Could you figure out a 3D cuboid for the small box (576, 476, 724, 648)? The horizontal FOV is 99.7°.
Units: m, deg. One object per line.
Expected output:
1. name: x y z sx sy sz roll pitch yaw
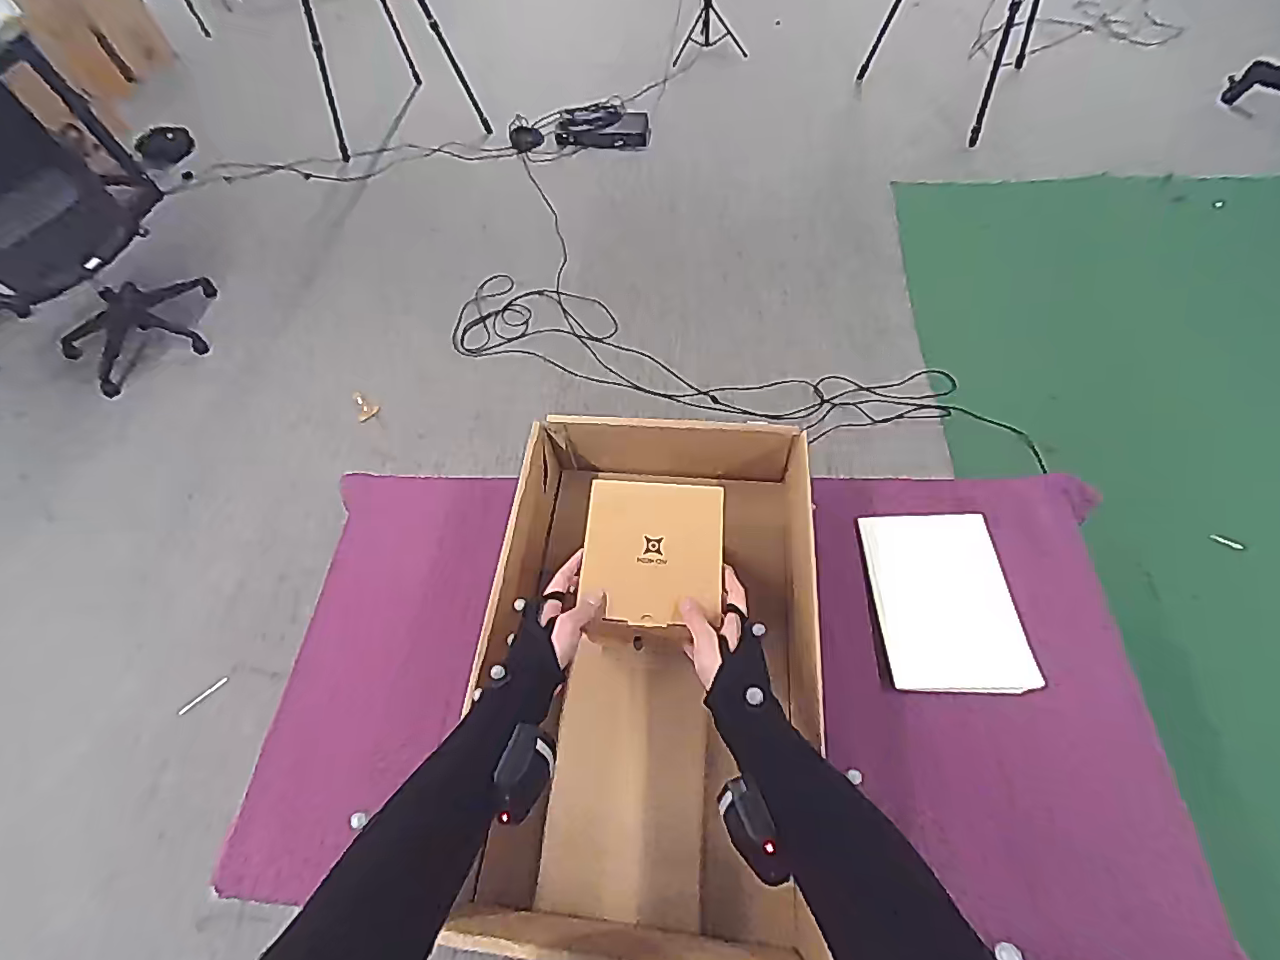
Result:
1. small box: 0.017 0.113 0.713 0.168 0.176 0.179 4 65 4
